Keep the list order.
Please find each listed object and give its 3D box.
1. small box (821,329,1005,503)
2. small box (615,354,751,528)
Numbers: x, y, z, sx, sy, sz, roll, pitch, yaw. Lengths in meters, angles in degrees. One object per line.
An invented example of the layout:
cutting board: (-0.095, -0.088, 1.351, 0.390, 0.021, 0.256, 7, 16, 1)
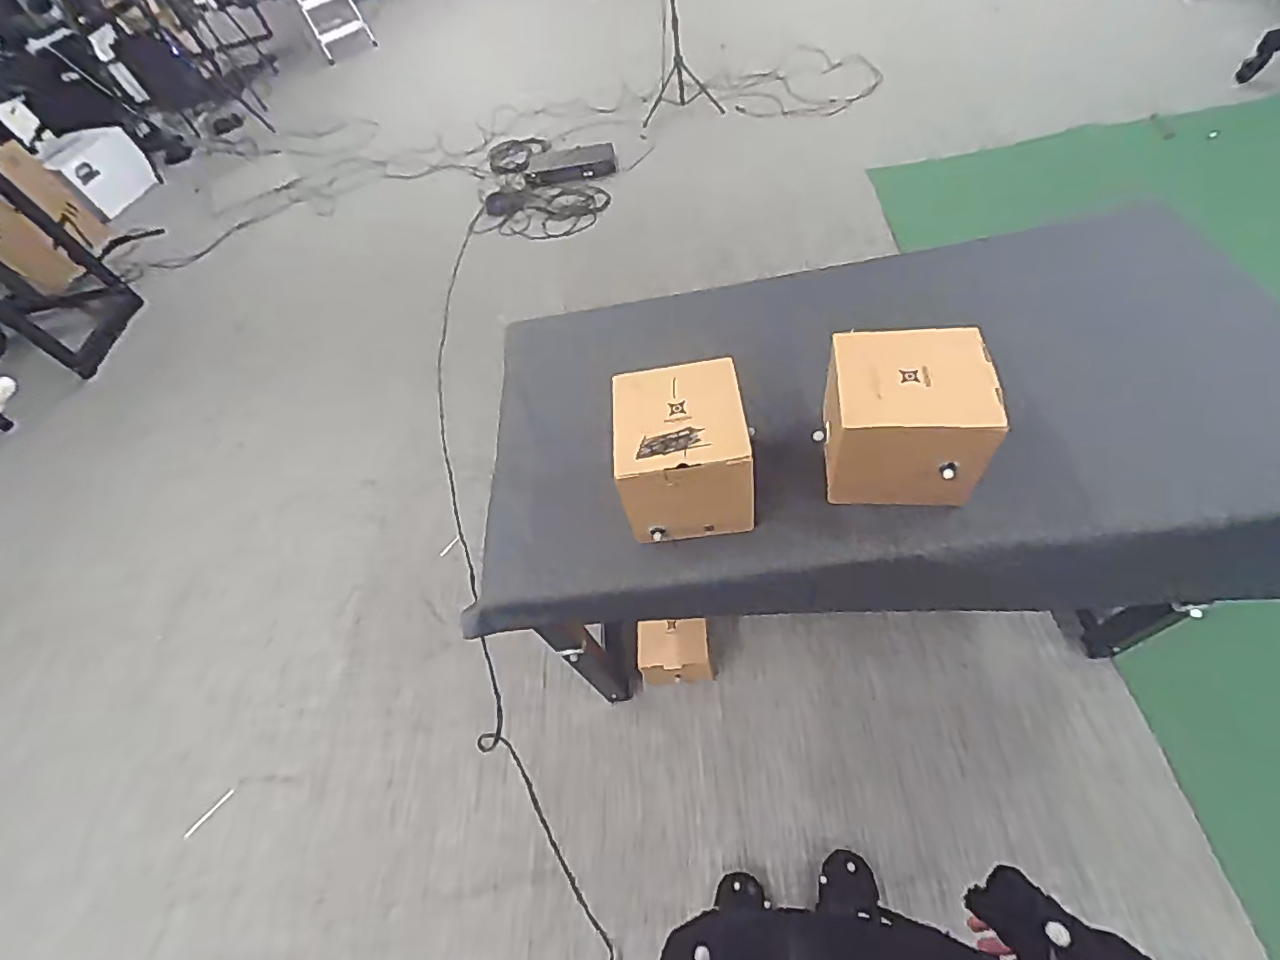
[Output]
small box: (0.344, -0.080, 0.722, 0.179, 0.176, 0.168, 1, 56, 13)
small box: (0.062, -0.044, 0.750, 0.168, 0.176, 0.179, -6, 54, 7)
